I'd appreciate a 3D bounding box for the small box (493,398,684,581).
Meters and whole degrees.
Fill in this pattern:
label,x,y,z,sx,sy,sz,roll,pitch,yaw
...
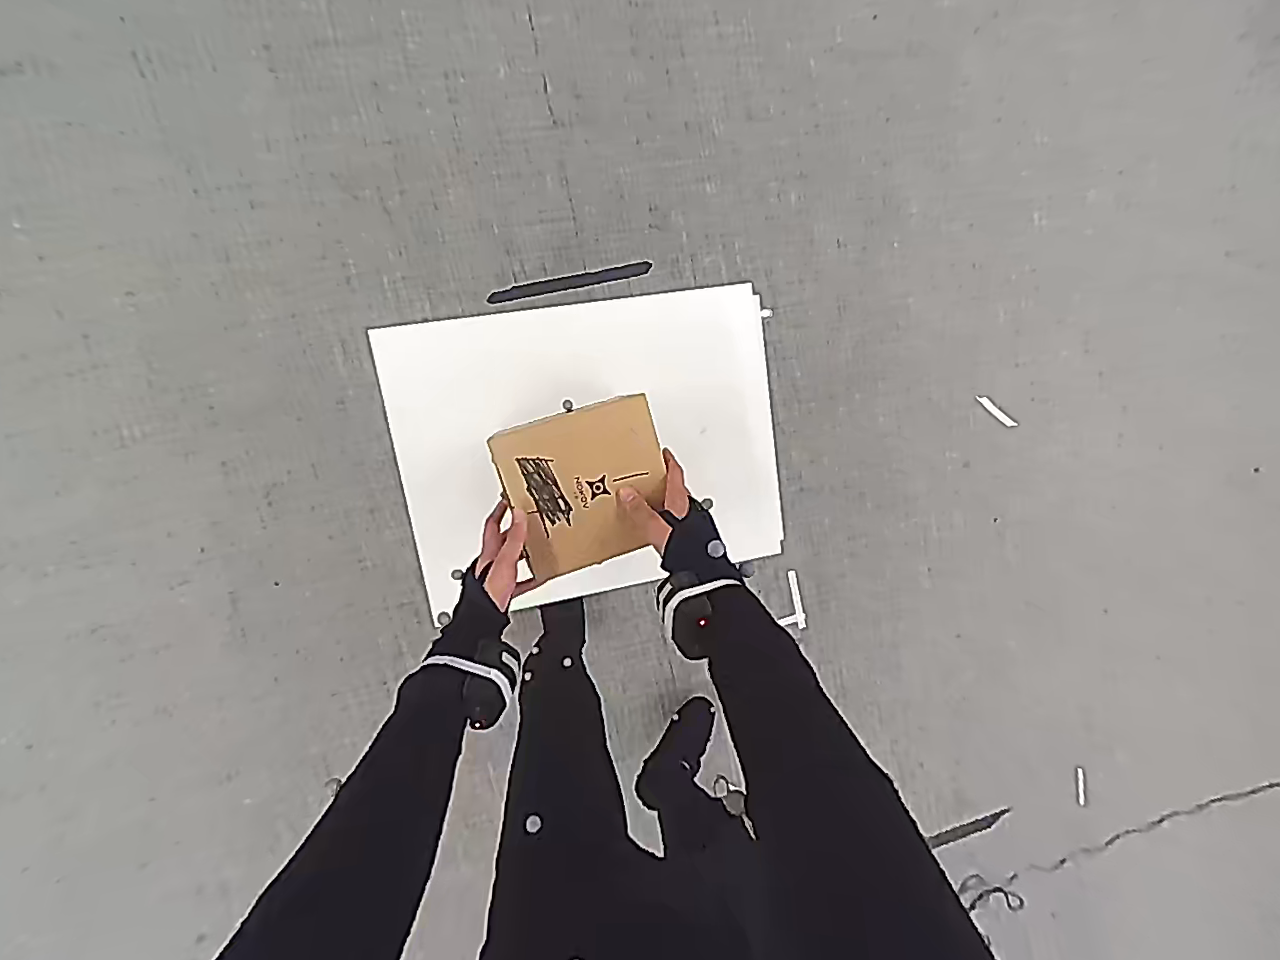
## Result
label,x,y,z,sx,sy,sz,roll,pitch,yaw
small box,-0.067,0.002,0.665,0.179,0.176,0.168,-18,101,-10
